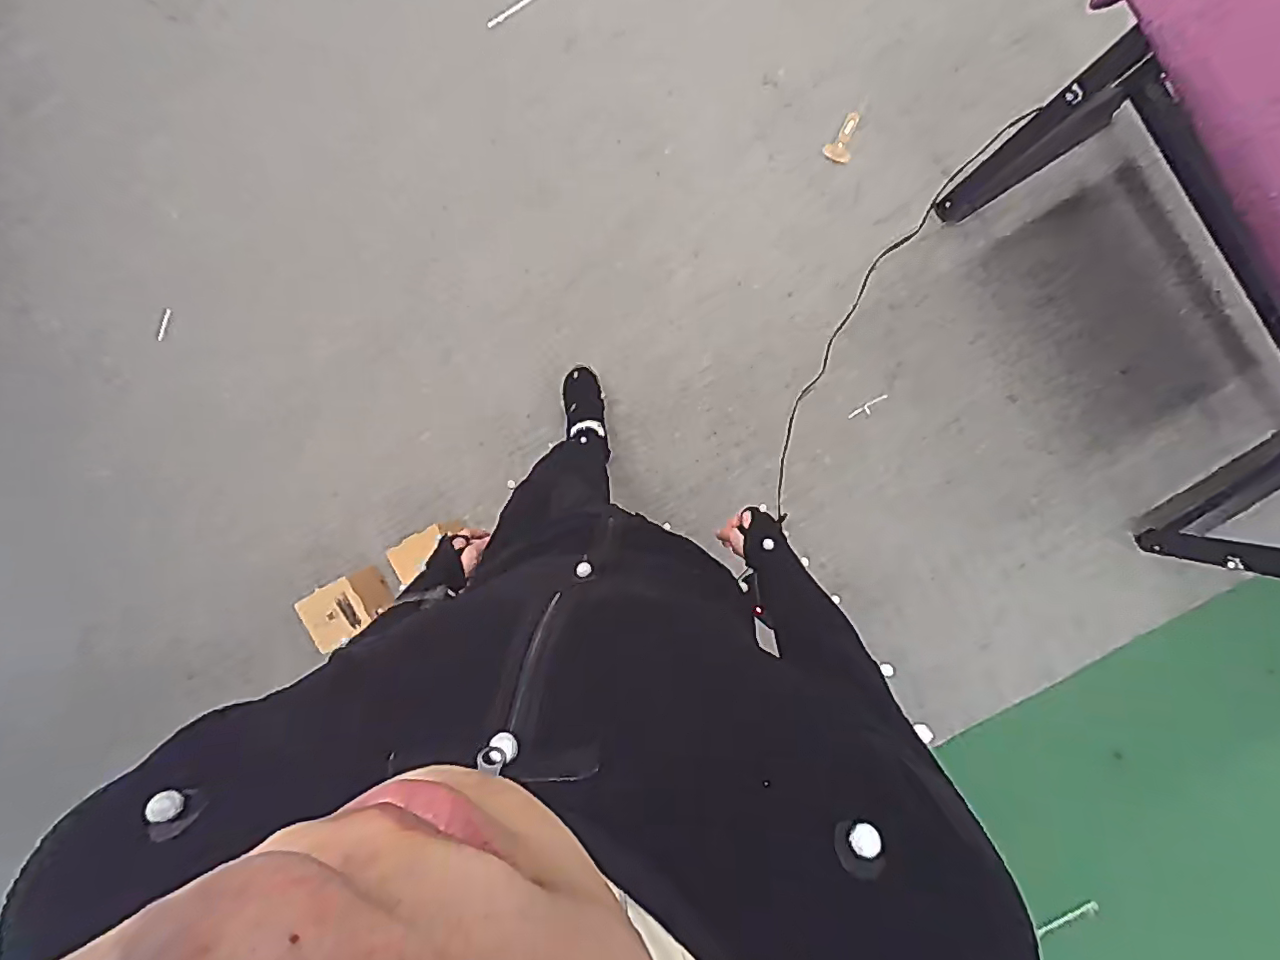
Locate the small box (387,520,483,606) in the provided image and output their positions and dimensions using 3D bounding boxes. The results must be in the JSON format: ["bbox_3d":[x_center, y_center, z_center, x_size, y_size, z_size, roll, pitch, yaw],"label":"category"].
[{"bbox_3d":[-0.583,0.232,1.563,0.168,0.176,0.179,-28,91,3],"label":"small box"}]
